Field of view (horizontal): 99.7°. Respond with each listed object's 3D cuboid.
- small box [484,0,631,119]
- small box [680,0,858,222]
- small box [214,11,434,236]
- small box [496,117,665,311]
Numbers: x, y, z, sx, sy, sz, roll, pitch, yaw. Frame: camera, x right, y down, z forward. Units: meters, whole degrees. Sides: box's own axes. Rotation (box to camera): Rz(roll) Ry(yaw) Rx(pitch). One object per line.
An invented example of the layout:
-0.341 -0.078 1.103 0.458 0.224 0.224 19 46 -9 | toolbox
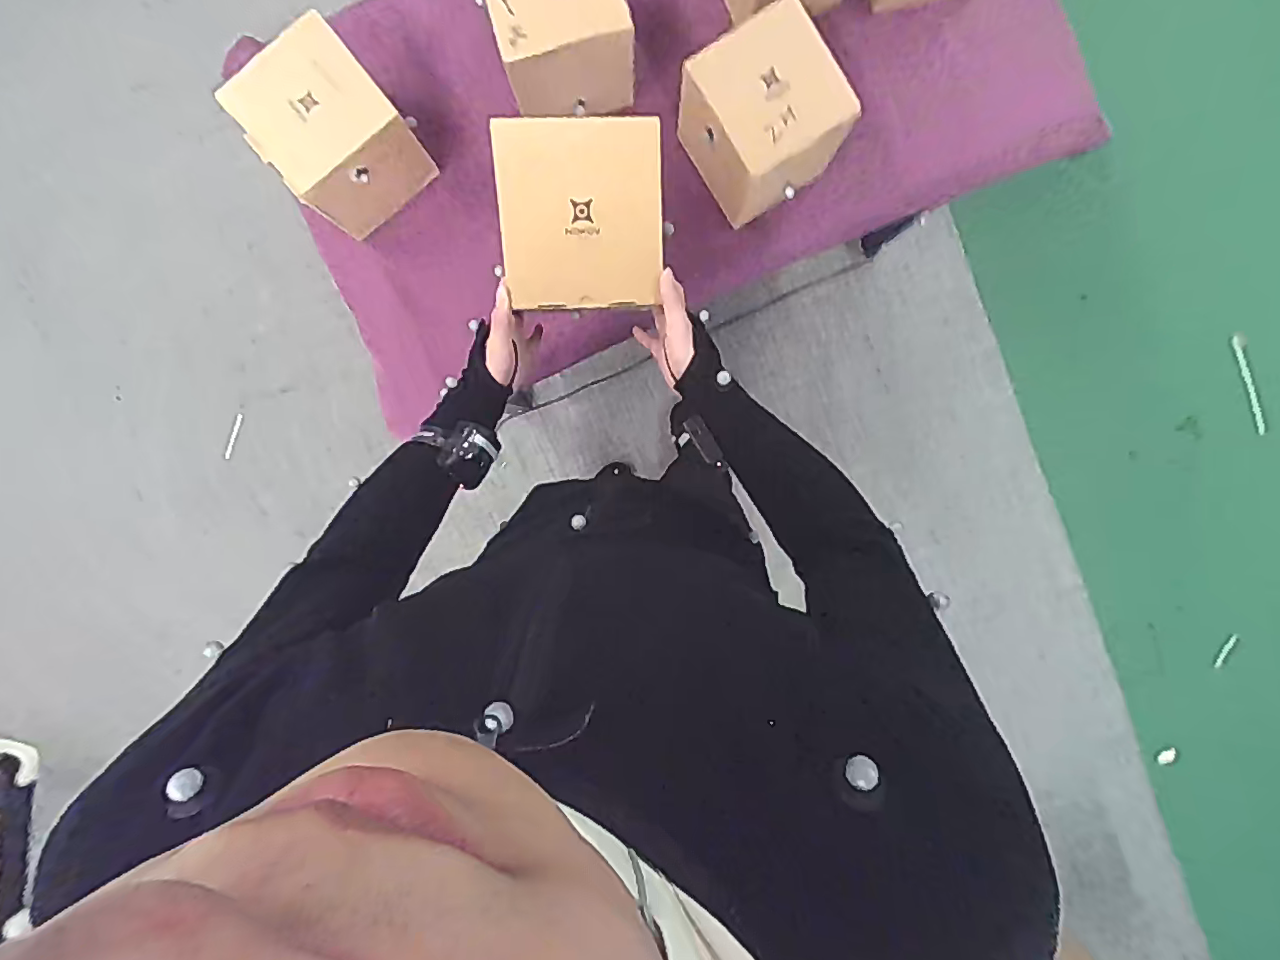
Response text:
-0.117 -0.640 0.764 0.179 0.176 0.168 -15 95 1 | small box
0.168 -0.513 0.773 0.168 0.176 0.179 -32 93 3 | small box
-0.434 -0.489 0.776 0.179 0.176 0.168 -38 95 2 | small box
-0.065 -0.287 0.618 0.168 0.176 0.179 -3 108 -5 | small box
